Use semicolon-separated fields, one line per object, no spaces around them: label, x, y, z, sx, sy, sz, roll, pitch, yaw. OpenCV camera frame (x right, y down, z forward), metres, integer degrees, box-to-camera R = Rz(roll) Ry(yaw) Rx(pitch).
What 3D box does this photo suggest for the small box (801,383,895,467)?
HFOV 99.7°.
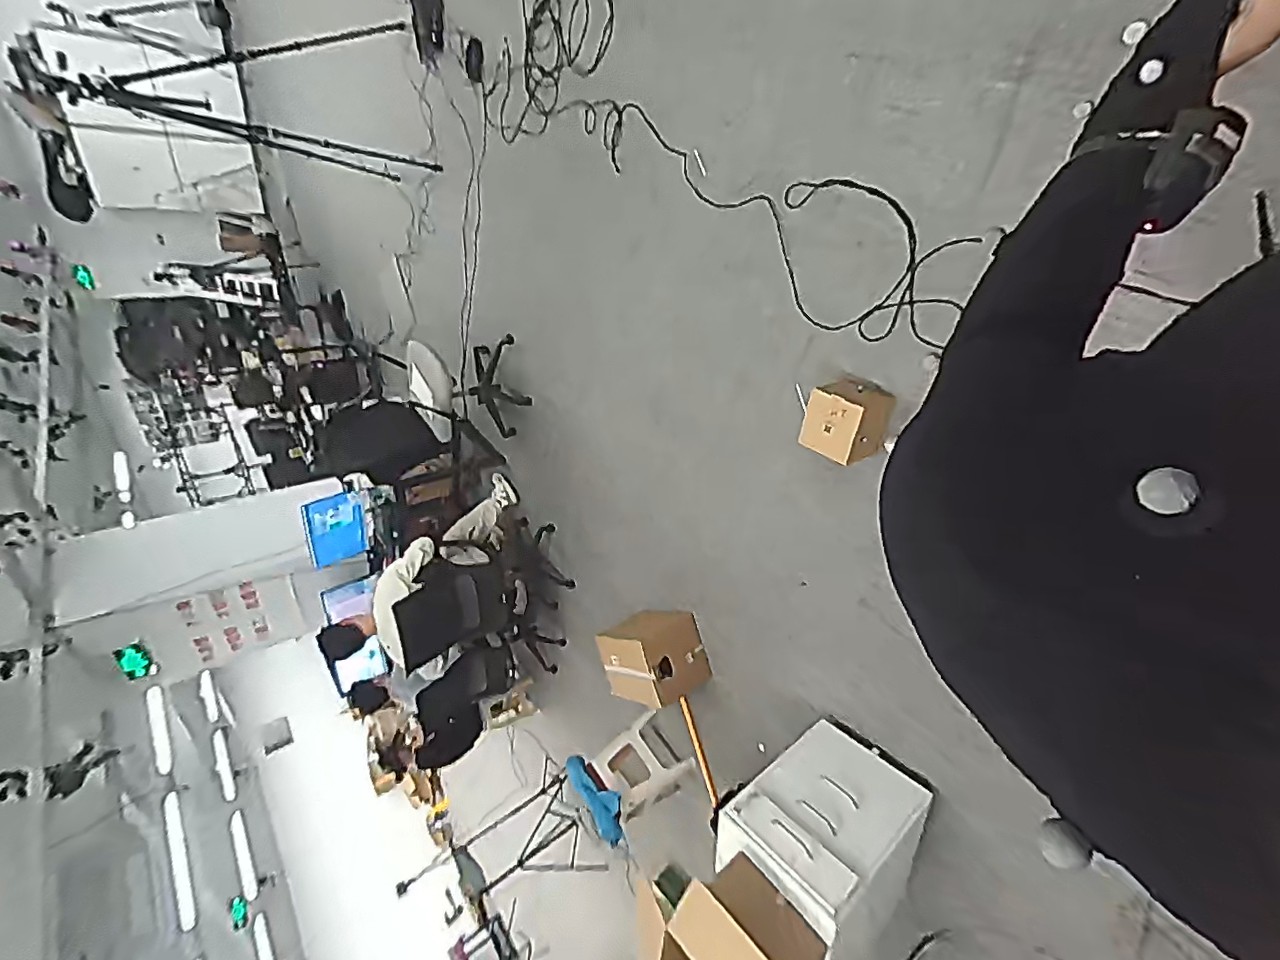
small box;0.597;-0.164;1.548;0.168;0.176;0.179;35;130;40
